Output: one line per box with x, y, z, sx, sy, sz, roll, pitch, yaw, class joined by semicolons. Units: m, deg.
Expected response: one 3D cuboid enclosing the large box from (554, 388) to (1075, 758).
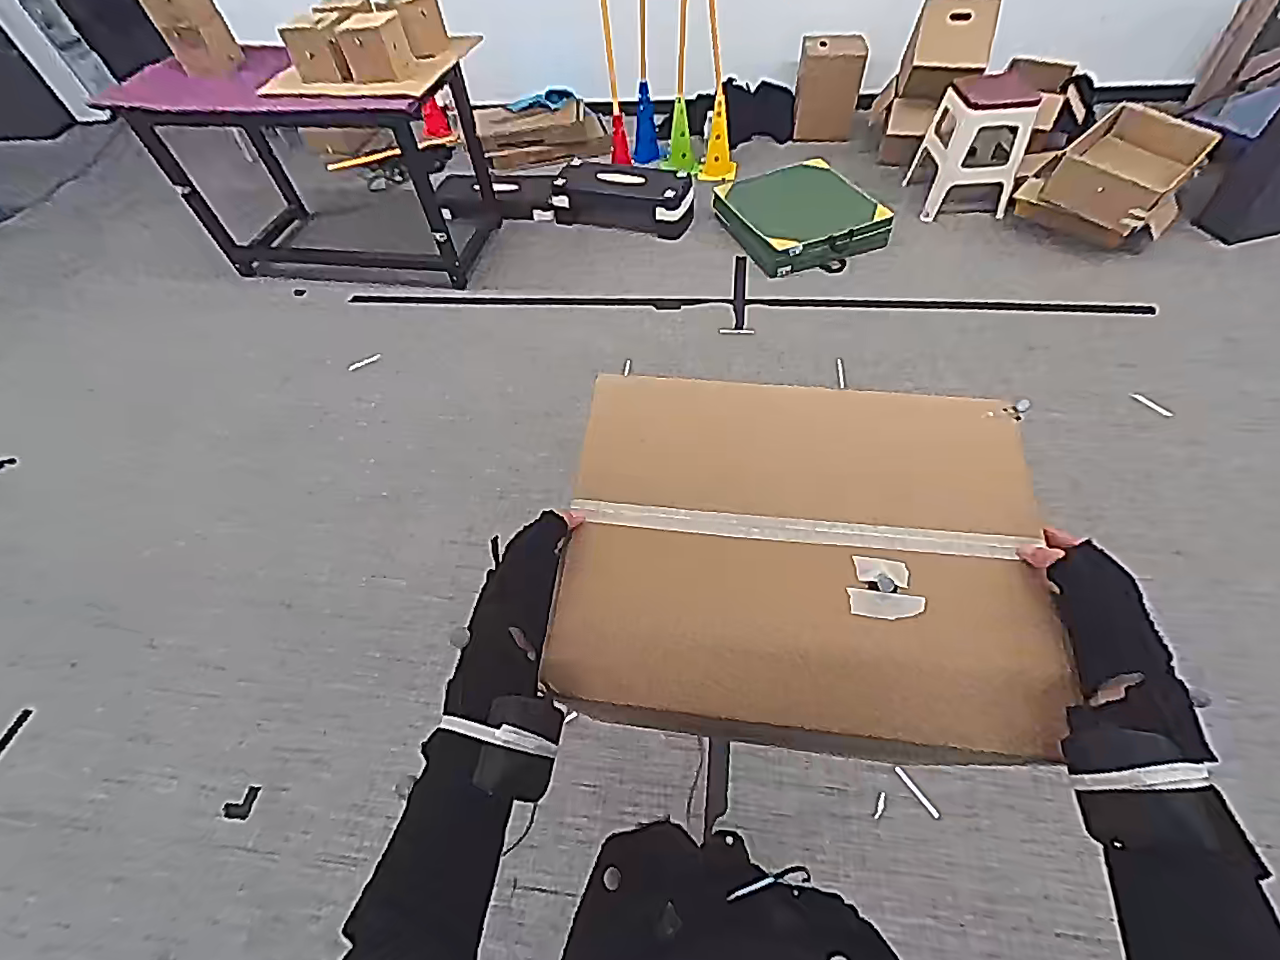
0.146;0.120;0.613;0.408;0.320;0.320;5;64;5;large box
